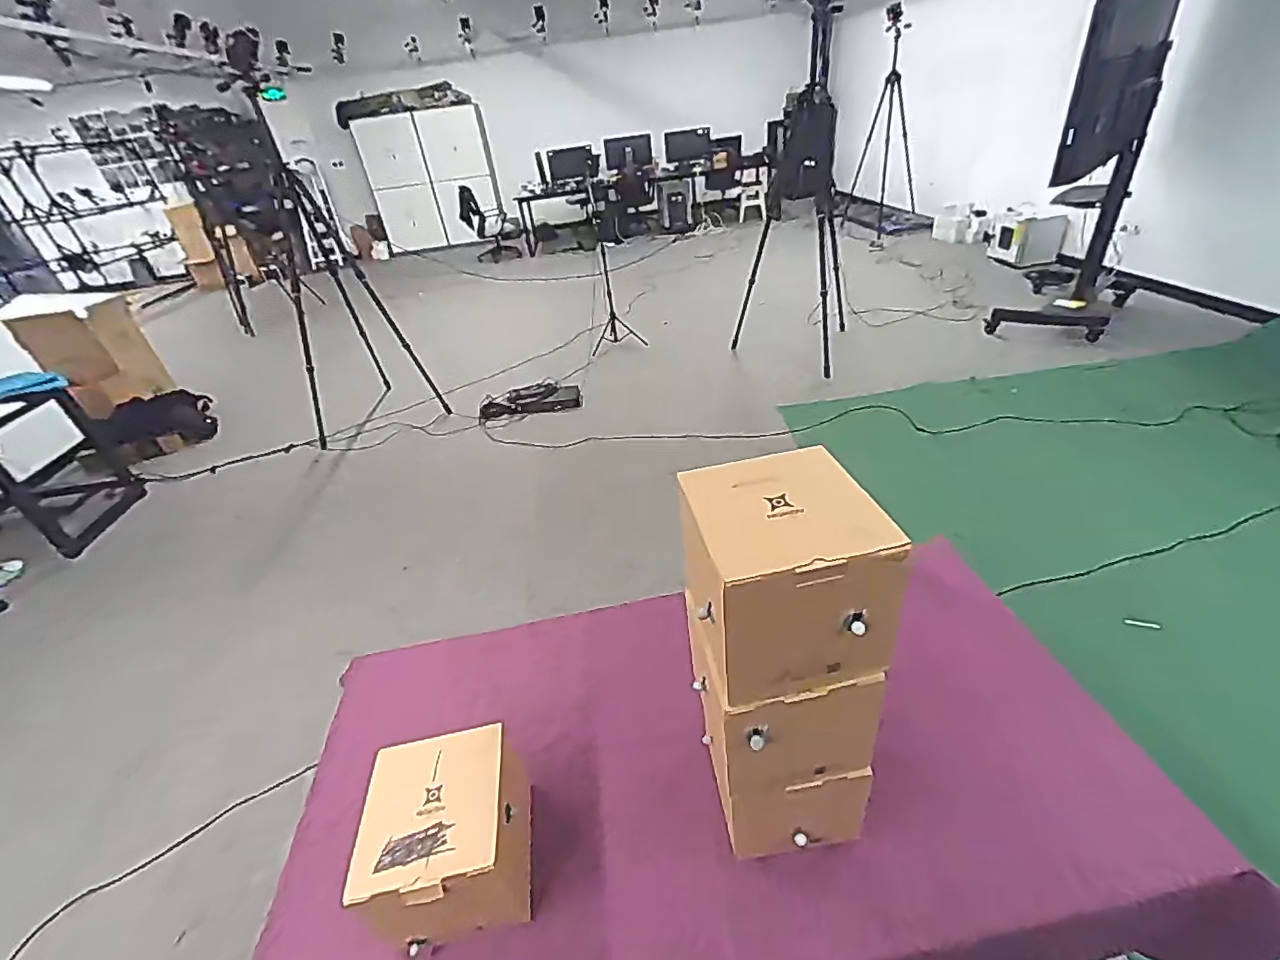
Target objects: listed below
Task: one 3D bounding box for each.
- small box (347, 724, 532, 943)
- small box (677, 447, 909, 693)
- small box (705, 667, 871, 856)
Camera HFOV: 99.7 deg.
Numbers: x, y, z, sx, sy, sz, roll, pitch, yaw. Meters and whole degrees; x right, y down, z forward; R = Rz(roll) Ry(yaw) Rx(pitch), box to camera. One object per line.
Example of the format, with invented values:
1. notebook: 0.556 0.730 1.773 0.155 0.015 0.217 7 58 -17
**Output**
1. small box: -0.237 0.454 0.694 0.168 0.176 0.179 -11 34 -4
2. small box: 0.141 0.092 0.550 0.168 0.176 0.179 -11 33 -4
3. small box: 0.186 0.364 0.728 0.168 0.176 0.179 -10 34 -1
